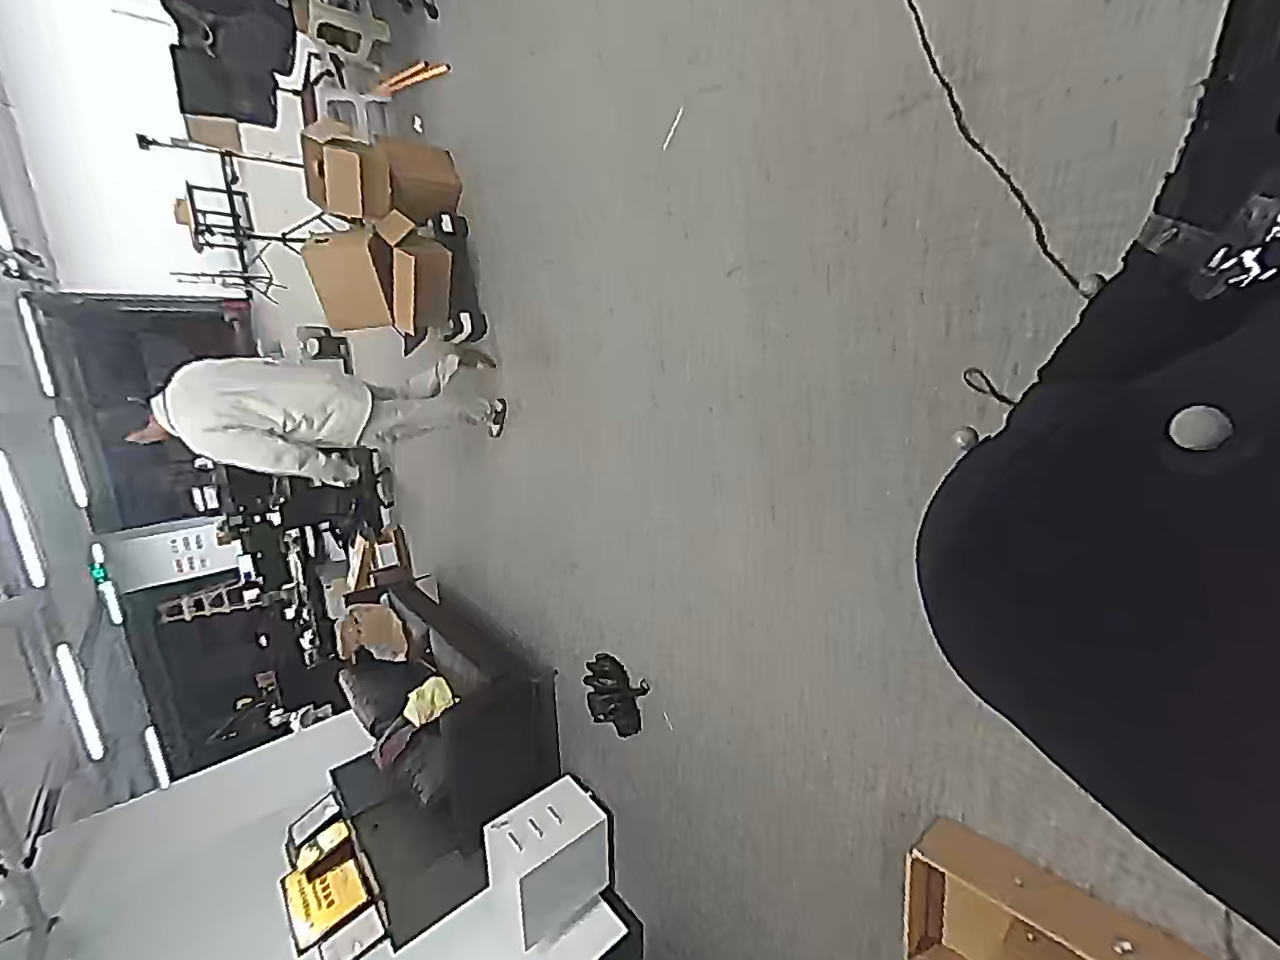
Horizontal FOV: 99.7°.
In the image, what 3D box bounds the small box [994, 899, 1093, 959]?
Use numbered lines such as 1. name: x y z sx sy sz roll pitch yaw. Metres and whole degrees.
1. small box: 0.977 1.186 1.314 0.168 0.176 0.179 9 109 50
